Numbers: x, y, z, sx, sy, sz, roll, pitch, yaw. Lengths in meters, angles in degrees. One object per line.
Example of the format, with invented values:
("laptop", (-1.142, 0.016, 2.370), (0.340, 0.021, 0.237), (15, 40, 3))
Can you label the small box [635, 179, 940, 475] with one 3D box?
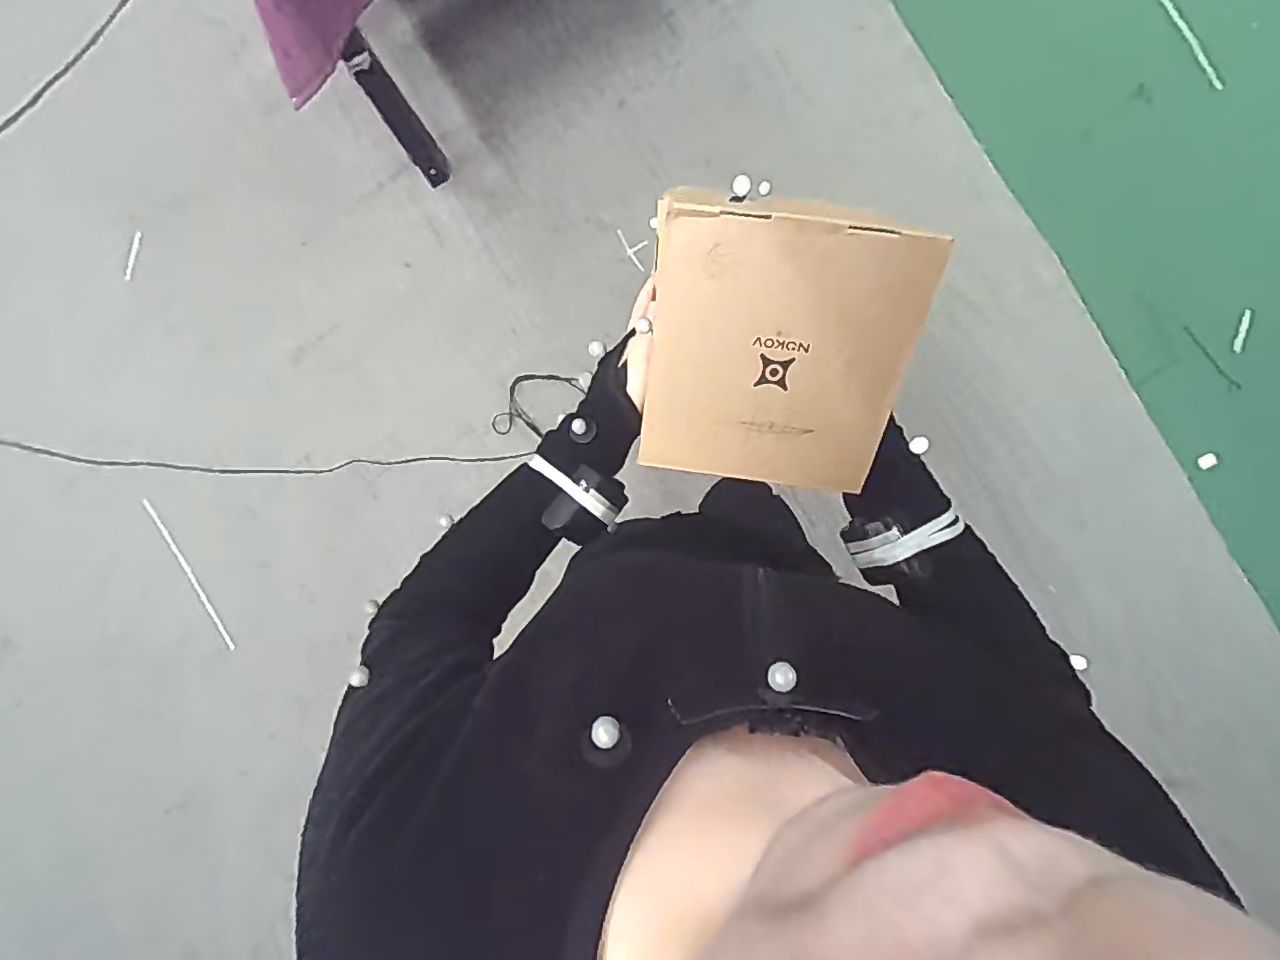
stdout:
("small box", (0.091, -0.127, 0.421), (0.168, 0.176, 0.179), (7, 122, 2))
